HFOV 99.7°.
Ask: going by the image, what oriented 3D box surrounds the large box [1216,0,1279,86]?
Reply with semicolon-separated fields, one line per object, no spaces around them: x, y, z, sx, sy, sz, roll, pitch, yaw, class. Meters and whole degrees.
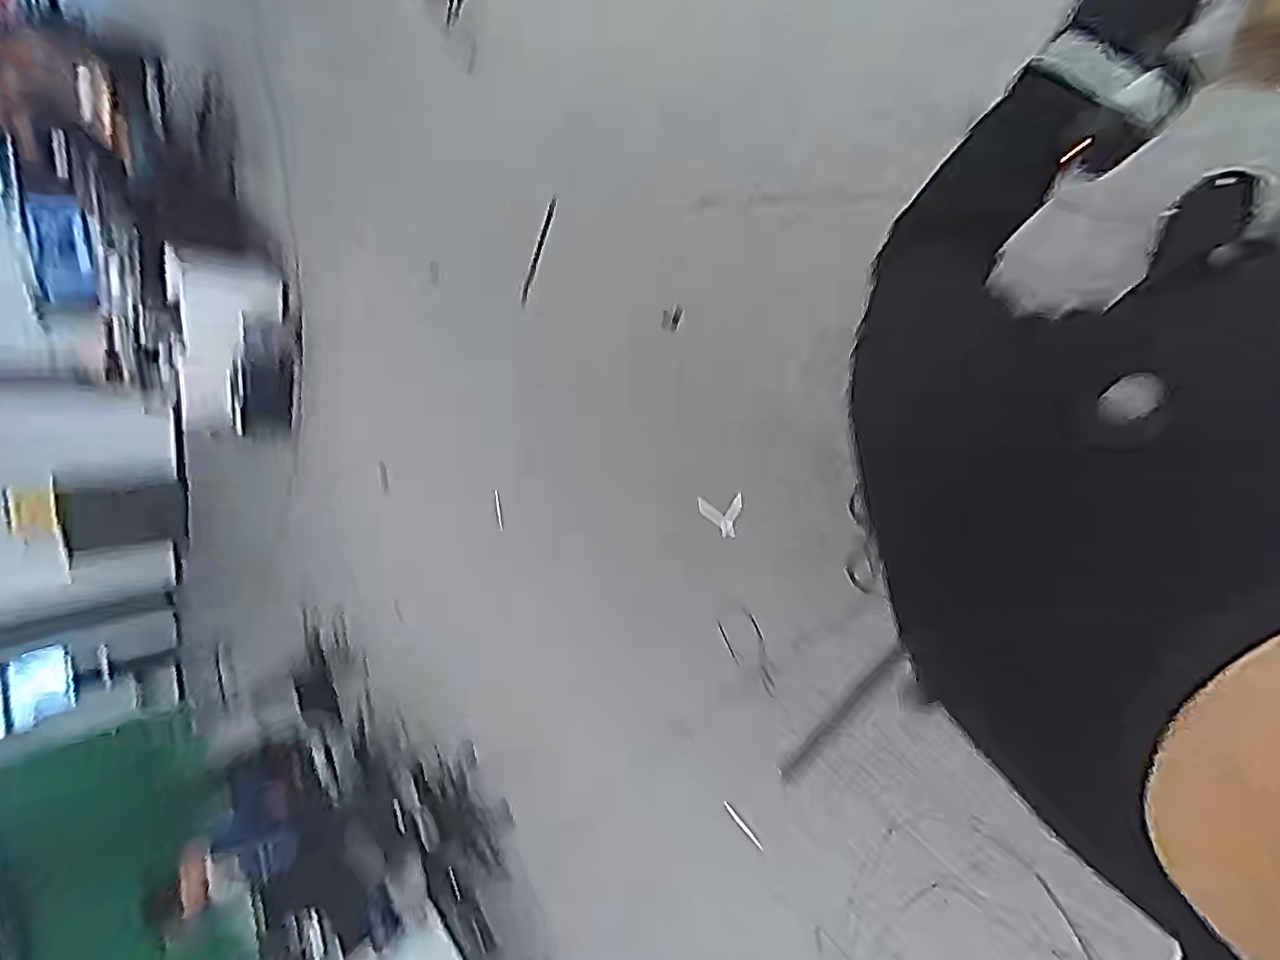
0.629;-0.363;0.245;0.408;0.320;0.320;32;132;26;large box
